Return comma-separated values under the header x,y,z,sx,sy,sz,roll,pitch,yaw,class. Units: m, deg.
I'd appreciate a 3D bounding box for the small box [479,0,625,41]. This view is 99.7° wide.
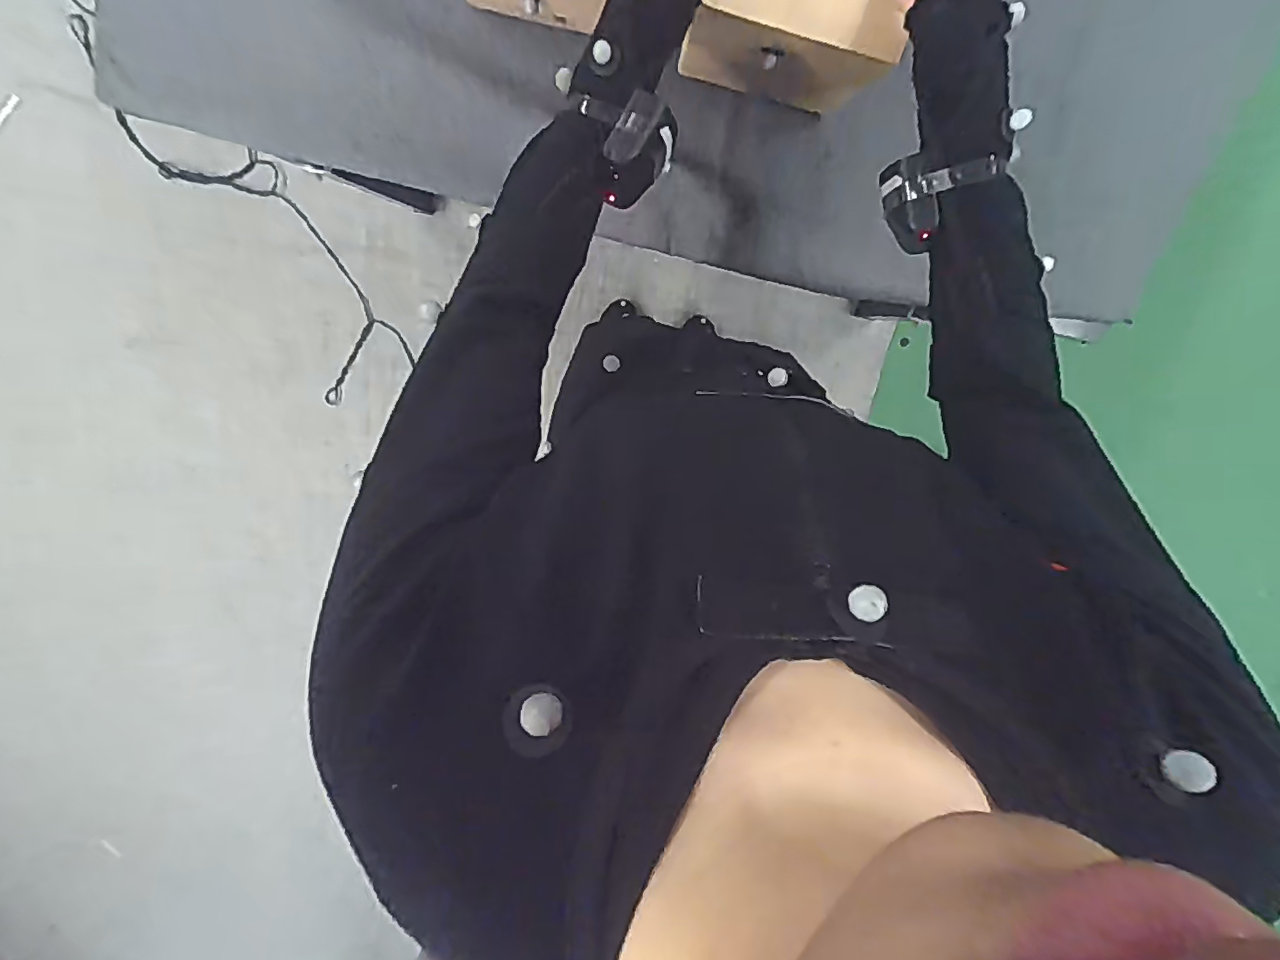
x,y,z,sx,sy,sz,roll,pitch,yaw,class
-0.087,-0.552,0.486,0.168,0.176,0.179,12,107,-1,small box
